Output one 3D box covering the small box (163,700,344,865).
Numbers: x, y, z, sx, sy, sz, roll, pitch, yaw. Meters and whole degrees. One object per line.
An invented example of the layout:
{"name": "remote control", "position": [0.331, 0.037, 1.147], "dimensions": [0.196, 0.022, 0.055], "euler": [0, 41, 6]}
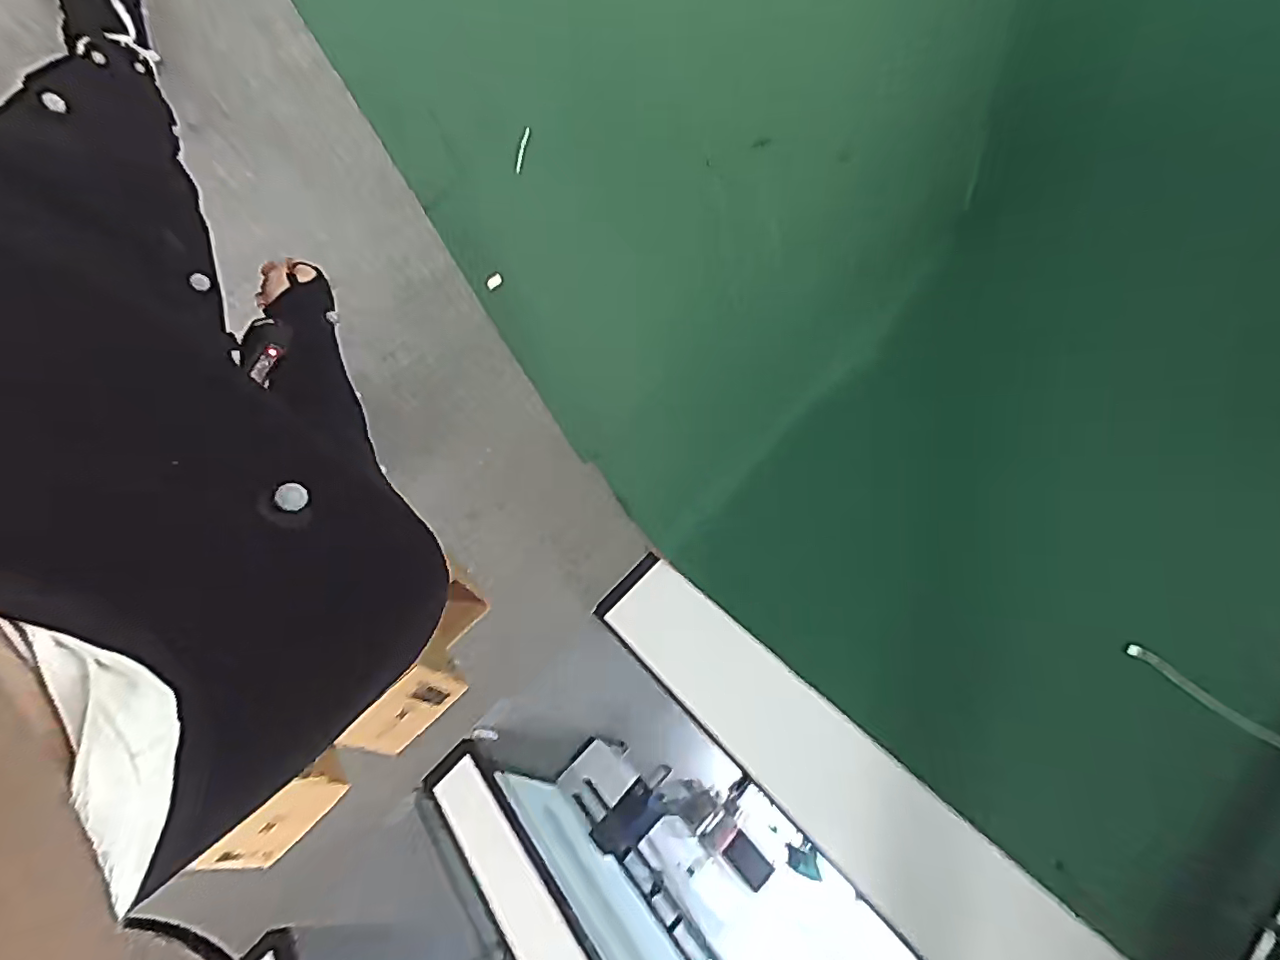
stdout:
{"name": "small box", "position": [-0.658, 0.510, 0.920], "dimensions": [0.179, 0.176, 0.168], "euler": [-45, 144, -14]}
